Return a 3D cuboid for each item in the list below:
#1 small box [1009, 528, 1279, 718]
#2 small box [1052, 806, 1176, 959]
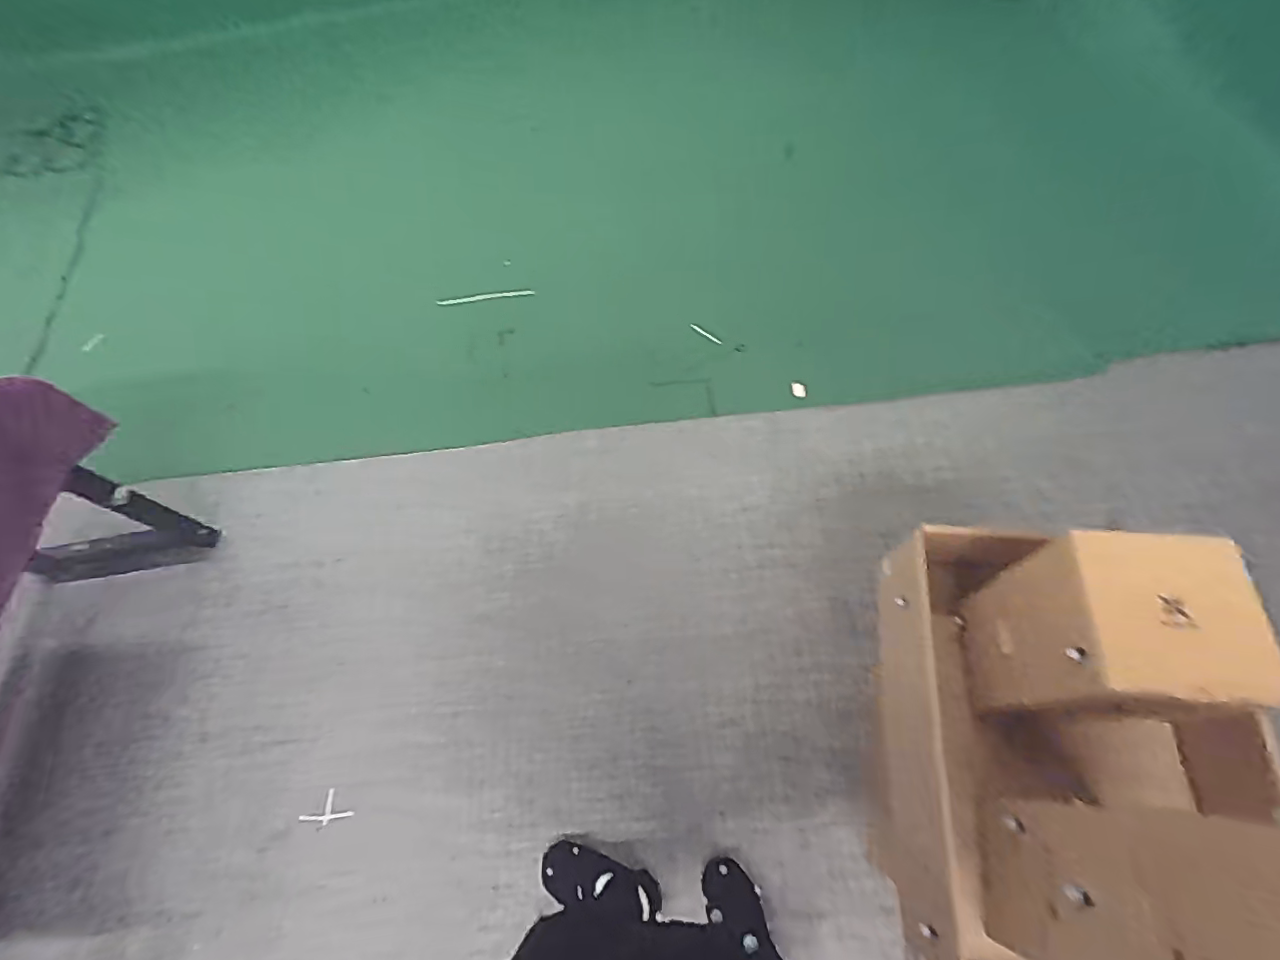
[{"bbox_3d":[0.567,0.171,0.631,0.168,0.176,0.179,2,64,9],"label":"small box"},{"bbox_3d":[0.520,0.420,0.505,0.179,0.176,0.168,9,64,13],"label":"small box"}]
